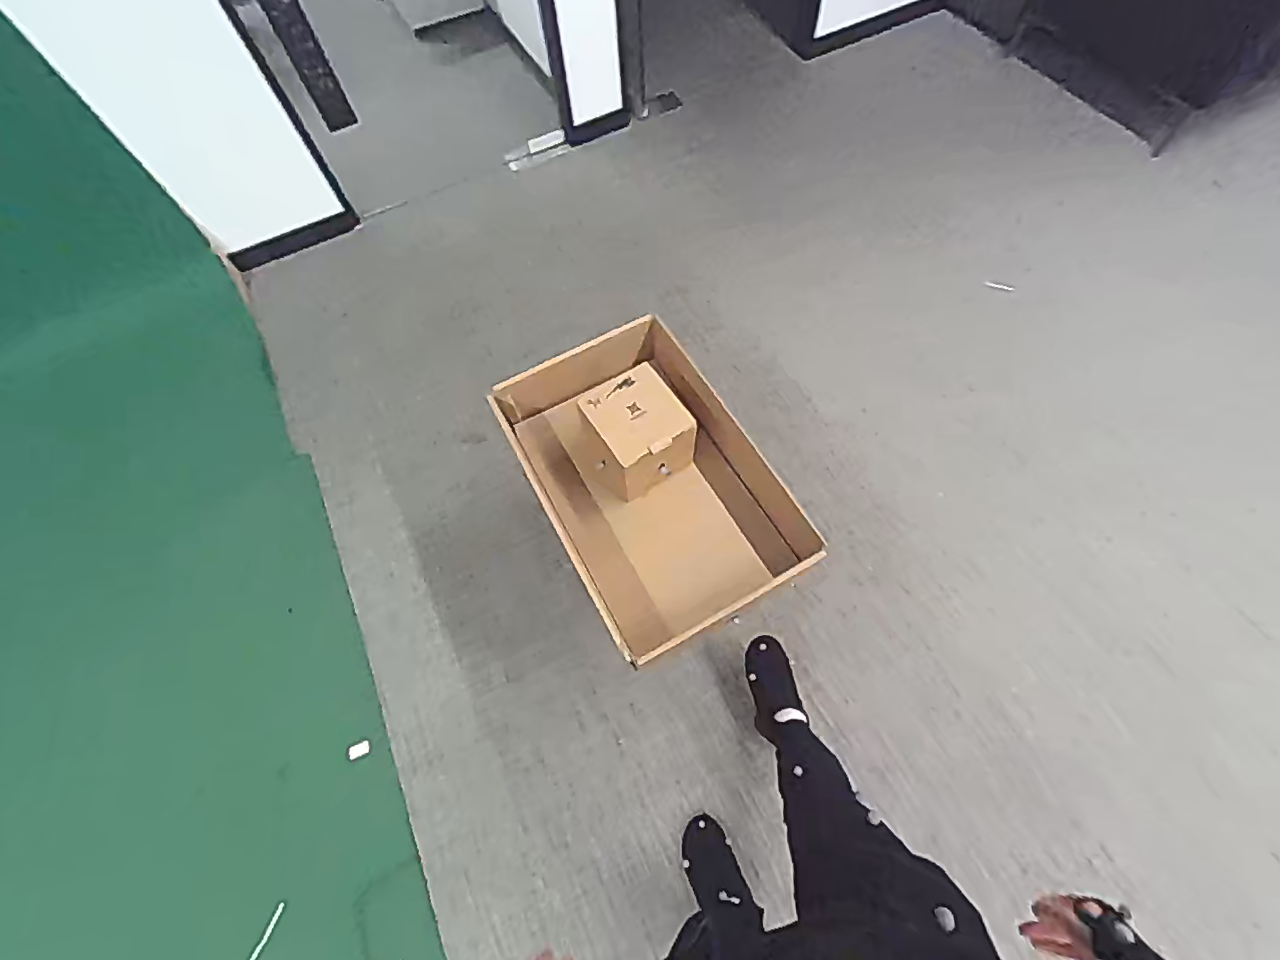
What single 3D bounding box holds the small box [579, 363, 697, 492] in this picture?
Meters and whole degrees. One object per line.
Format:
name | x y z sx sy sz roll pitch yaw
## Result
small box | -0.002 -0.094 1.090 0.168 0.176 0.179 -30 69 -12
